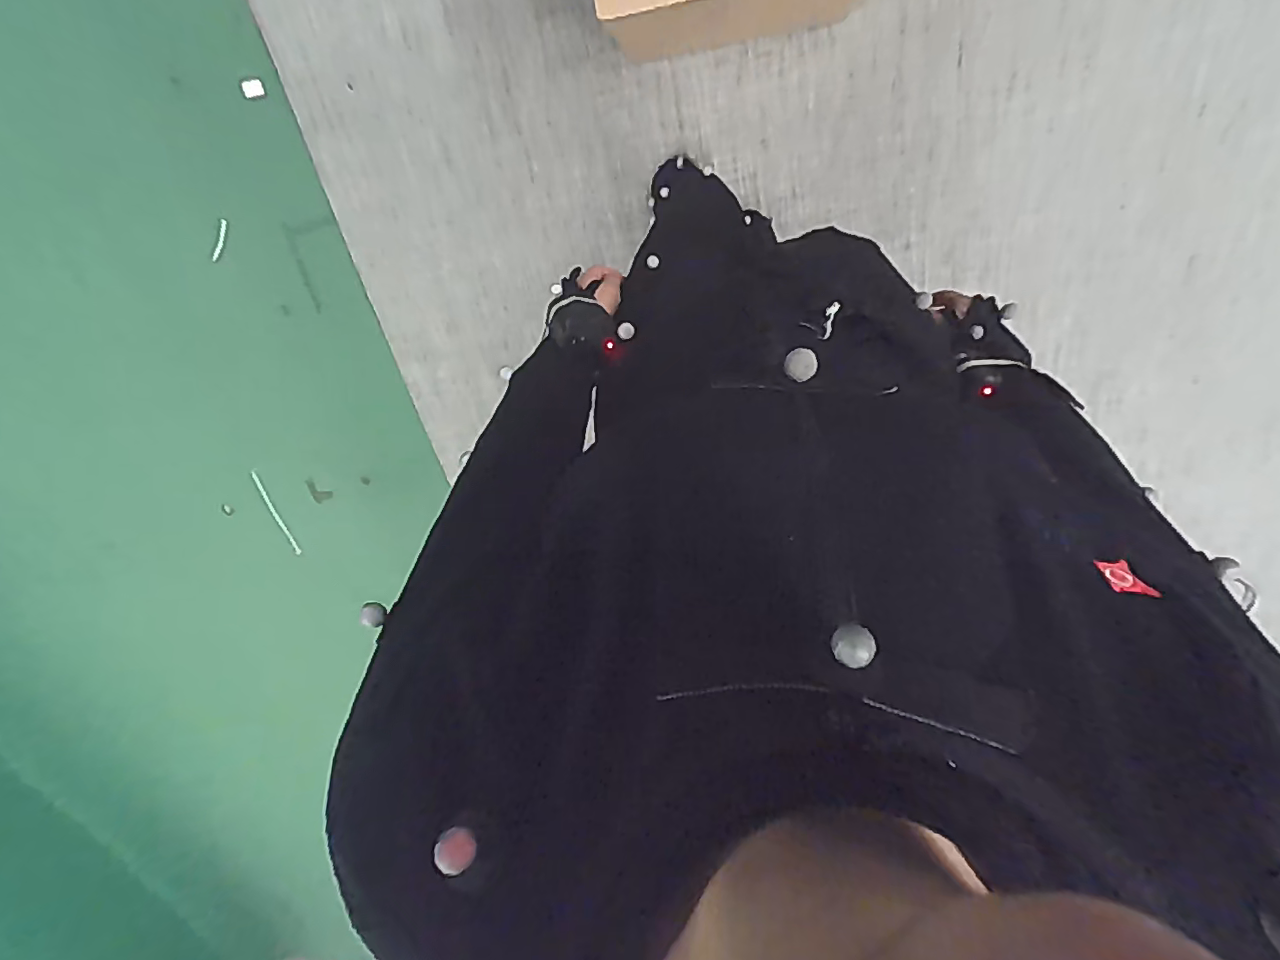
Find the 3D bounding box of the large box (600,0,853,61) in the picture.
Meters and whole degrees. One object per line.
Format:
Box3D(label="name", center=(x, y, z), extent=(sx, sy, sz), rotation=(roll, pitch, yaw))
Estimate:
Box3D(label="large box", center=(0.132, -0.882, 0.803), extent=(0.408, 0.320, 0.320), rotation=(-4, 118, 11))
